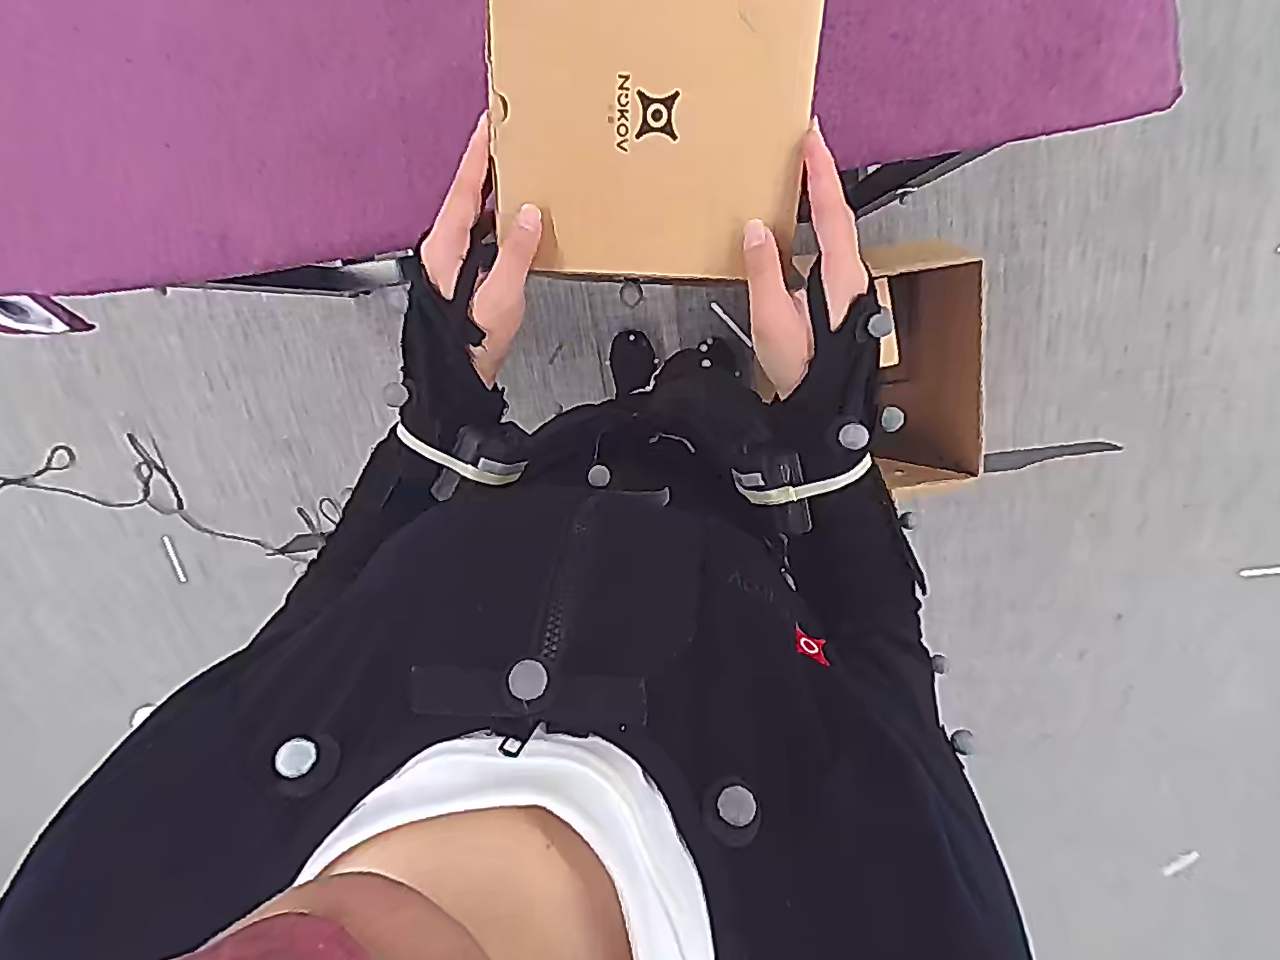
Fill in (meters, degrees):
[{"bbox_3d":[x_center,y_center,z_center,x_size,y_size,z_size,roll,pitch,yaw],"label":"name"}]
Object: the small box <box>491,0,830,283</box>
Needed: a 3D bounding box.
[{"bbox_3d":[0.010,-0.225,0.368,0.179,0.176,0.168,3,109,2],"label":"small box"}]
